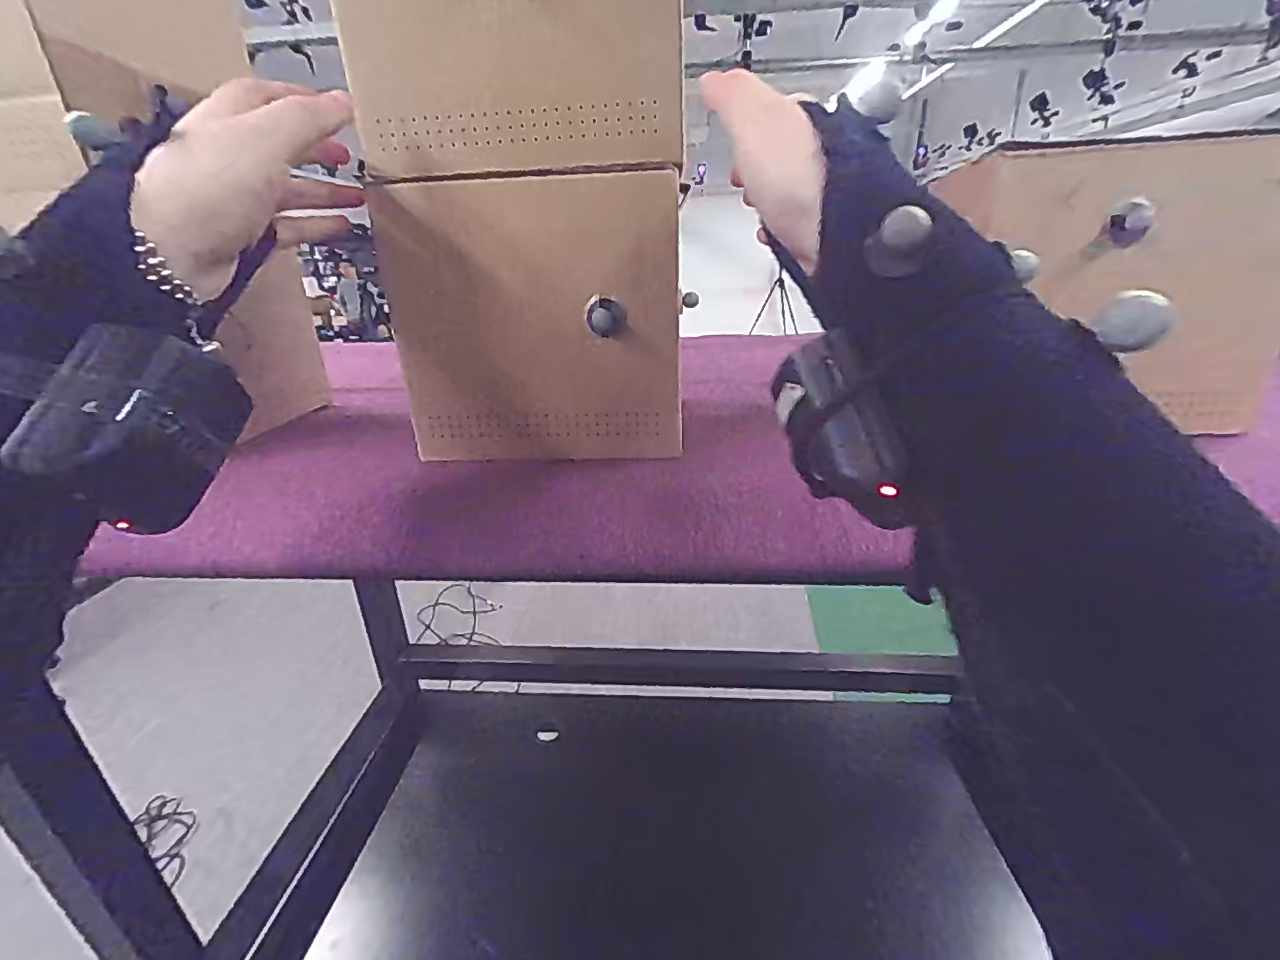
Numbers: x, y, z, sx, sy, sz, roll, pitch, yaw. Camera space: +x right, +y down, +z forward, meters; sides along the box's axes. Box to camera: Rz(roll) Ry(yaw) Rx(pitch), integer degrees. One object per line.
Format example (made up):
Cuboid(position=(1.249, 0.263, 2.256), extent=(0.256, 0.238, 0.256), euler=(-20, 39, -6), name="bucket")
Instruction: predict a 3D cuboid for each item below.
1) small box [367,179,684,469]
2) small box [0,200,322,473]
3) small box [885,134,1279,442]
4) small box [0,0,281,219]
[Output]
Cuboid(position=(-0.057, -0.113, 0.396), extent=(0.179, 0.176, 0.168), euler=(-2, 22, 4), name="small box")
Cuboid(position=(-0.379, -0.111, 0.411), extent=(0.168, 0.176, 0.179), euler=(1, 23, 3), name="small box")
Cuboid(position=(0.291, -0.127, 0.390), extent=(0.179, 0.176, 0.168), euler=(0, 21, 6), name="small box")
Cuboid(position=(-0.382, -0.261, 0.347), extent=(0.179, 0.176, 0.168), euler=(0, 24, 2), name="small box")
